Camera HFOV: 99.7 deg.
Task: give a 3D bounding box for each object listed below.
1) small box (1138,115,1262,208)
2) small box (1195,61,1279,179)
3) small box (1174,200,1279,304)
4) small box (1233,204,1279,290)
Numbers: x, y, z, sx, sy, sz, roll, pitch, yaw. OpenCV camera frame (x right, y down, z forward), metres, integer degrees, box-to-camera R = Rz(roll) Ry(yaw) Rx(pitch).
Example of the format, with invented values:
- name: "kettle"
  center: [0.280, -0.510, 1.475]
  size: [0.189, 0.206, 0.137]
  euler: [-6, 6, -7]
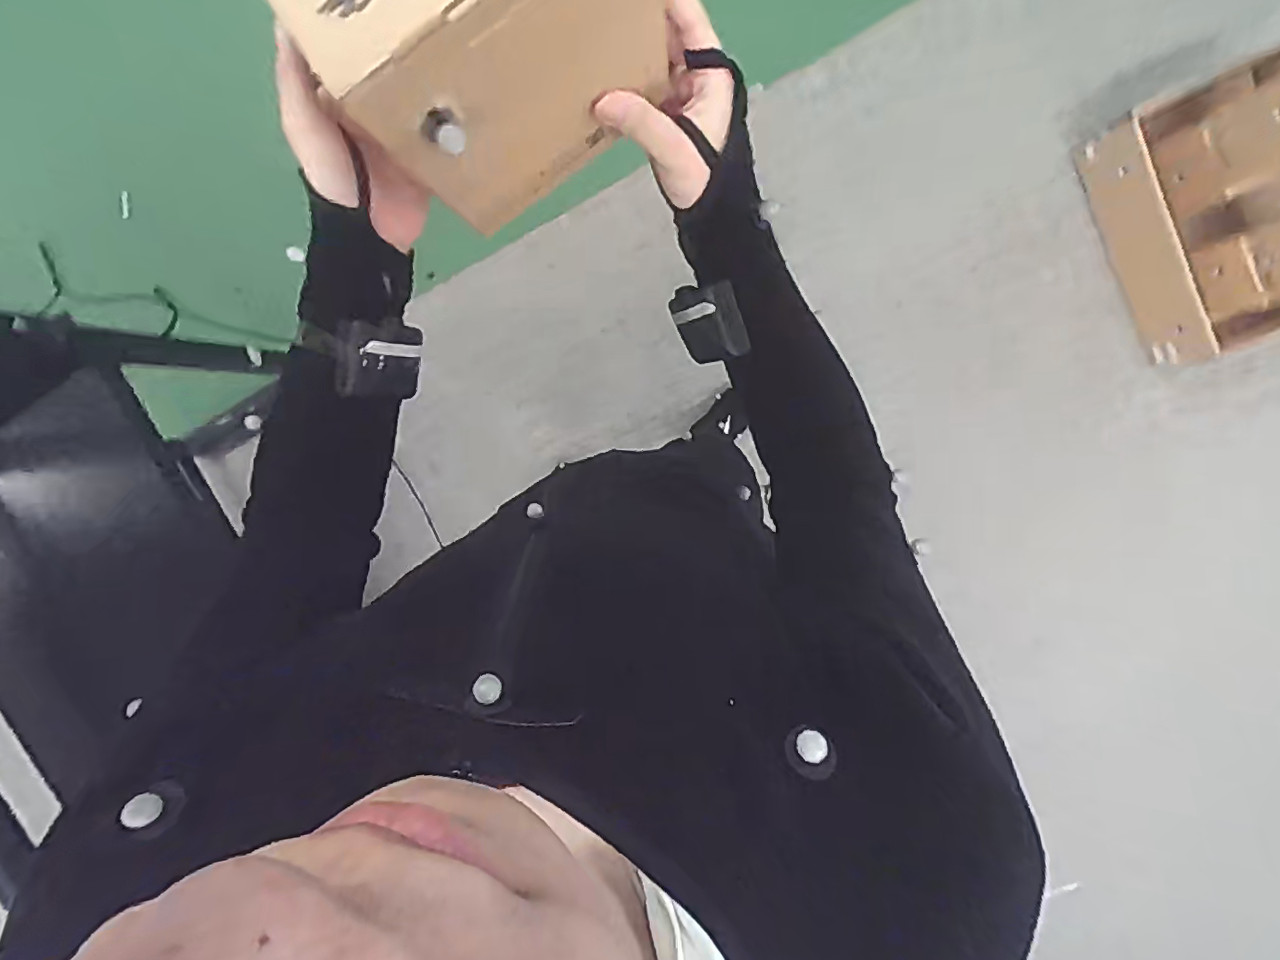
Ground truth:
- name: "small box"
  center: [1.339, -0.781, 1.276]
  size: [0.179, 0.176, 0.168]
  euler: [-27, 96, 8]
- name: "small box"
  center: [1.324, -0.762, 1.113]
  size: [0.179, 0.176, 0.168]
  euler: [-20, 96, 7]
- name: "small box"
  center: [1.454, -0.546, 1.301]
  size: [0.179, 0.176, 0.168]
  euler: [-26, 94, 8]
- name: "small box"
  center: [1.441, -0.528, 1.139]
  size: [0.179, 0.176, 0.168]
  euler: [-24, 94, 8]
